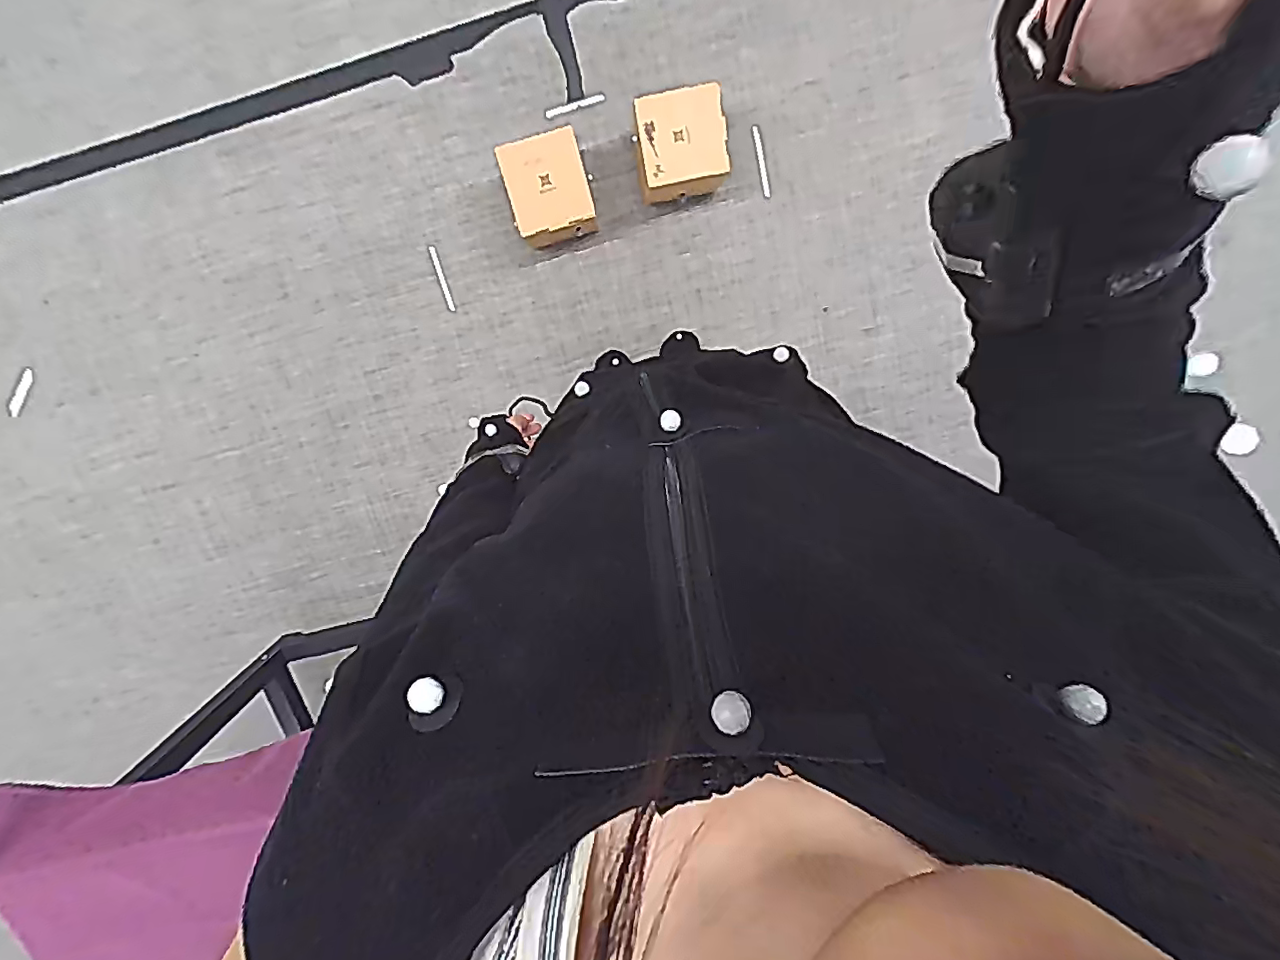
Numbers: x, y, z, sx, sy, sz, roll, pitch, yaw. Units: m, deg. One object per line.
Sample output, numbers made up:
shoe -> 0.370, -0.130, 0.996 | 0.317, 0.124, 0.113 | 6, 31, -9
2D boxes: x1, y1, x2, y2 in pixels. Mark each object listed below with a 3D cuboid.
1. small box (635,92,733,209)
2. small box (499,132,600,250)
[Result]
small box -> 0.091, -0.704, 1.173 | 0.179, 0.176, 0.168 | -11, 106, -1
small box -> -0.188, -0.618, 1.183 | 0.168, 0.176, 0.179 | -16, 104, 1
